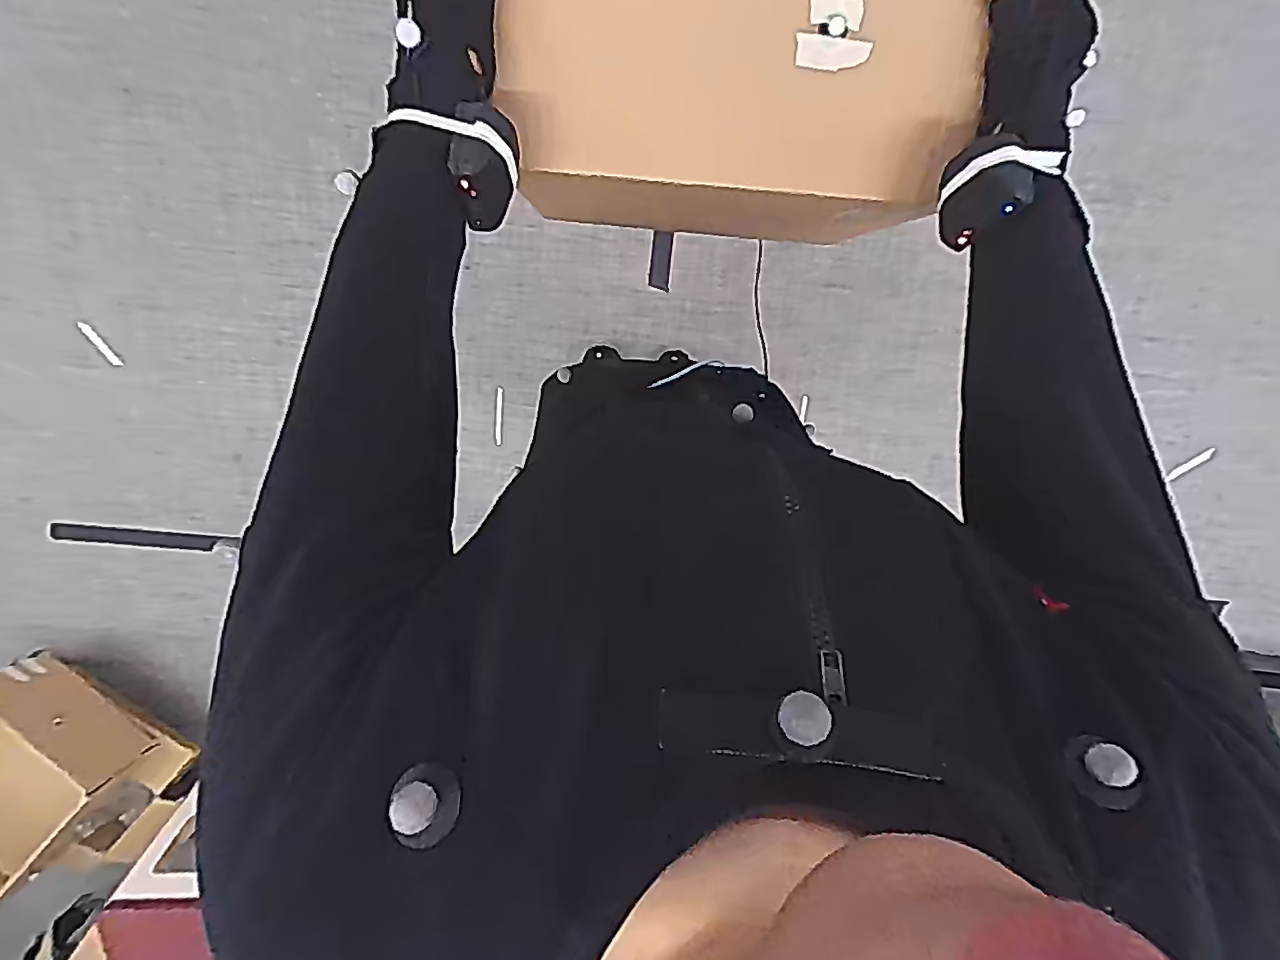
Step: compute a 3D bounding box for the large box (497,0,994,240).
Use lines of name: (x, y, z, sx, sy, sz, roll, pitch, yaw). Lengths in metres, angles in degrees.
large box: (0.080, -0.445, 0.563, 0.408, 0.320, 0.320, 3, 108, -3)
